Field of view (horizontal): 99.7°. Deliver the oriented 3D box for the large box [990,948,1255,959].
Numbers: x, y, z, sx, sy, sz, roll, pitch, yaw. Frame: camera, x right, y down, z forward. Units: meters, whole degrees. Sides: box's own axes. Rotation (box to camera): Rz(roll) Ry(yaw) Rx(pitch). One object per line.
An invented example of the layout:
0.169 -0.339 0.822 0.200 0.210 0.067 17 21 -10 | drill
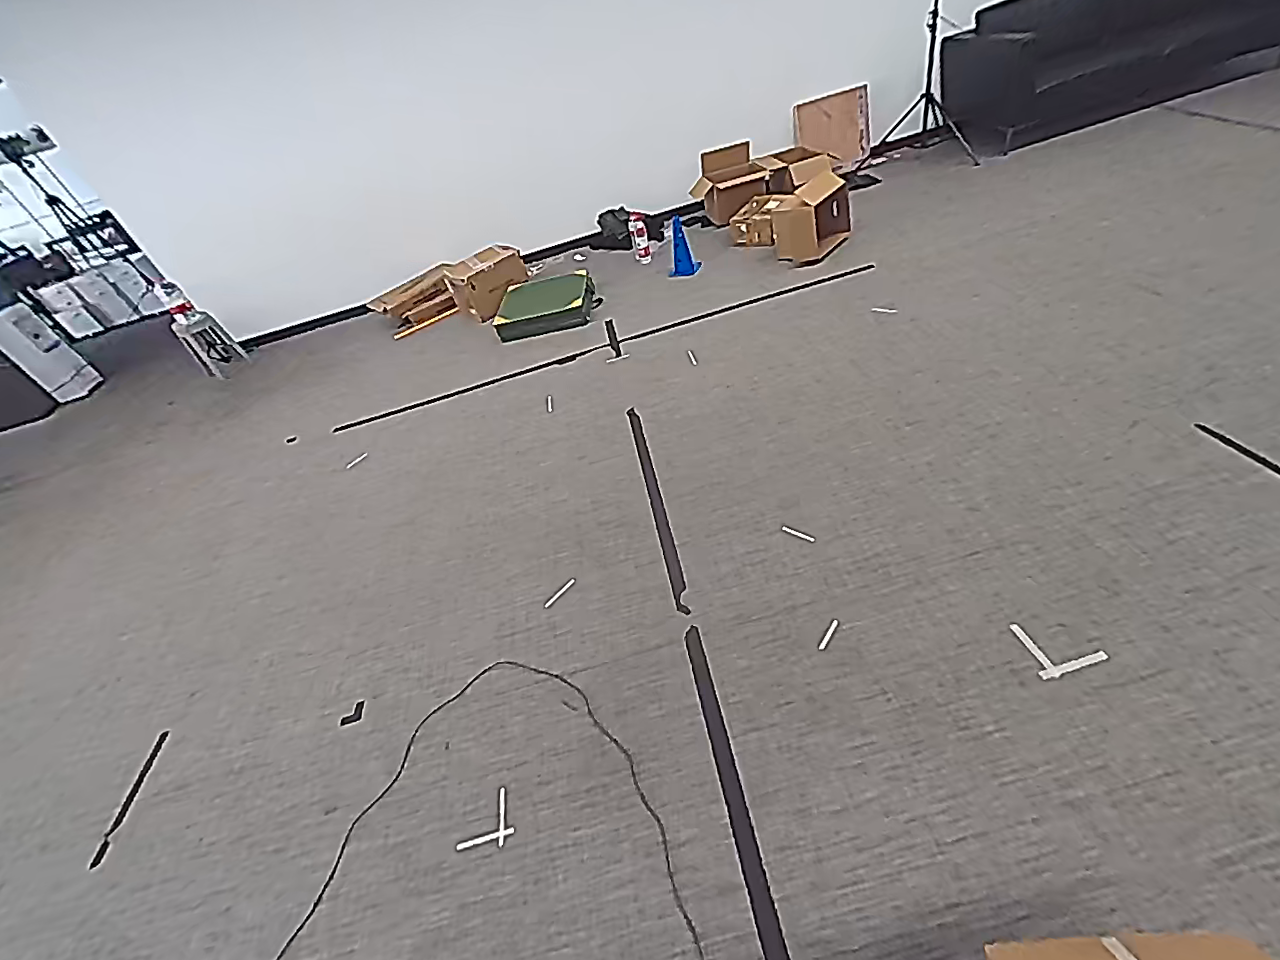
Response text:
0.608 0.742 0.497 0.320 0.408 0.320 -11 80 9 | large box
